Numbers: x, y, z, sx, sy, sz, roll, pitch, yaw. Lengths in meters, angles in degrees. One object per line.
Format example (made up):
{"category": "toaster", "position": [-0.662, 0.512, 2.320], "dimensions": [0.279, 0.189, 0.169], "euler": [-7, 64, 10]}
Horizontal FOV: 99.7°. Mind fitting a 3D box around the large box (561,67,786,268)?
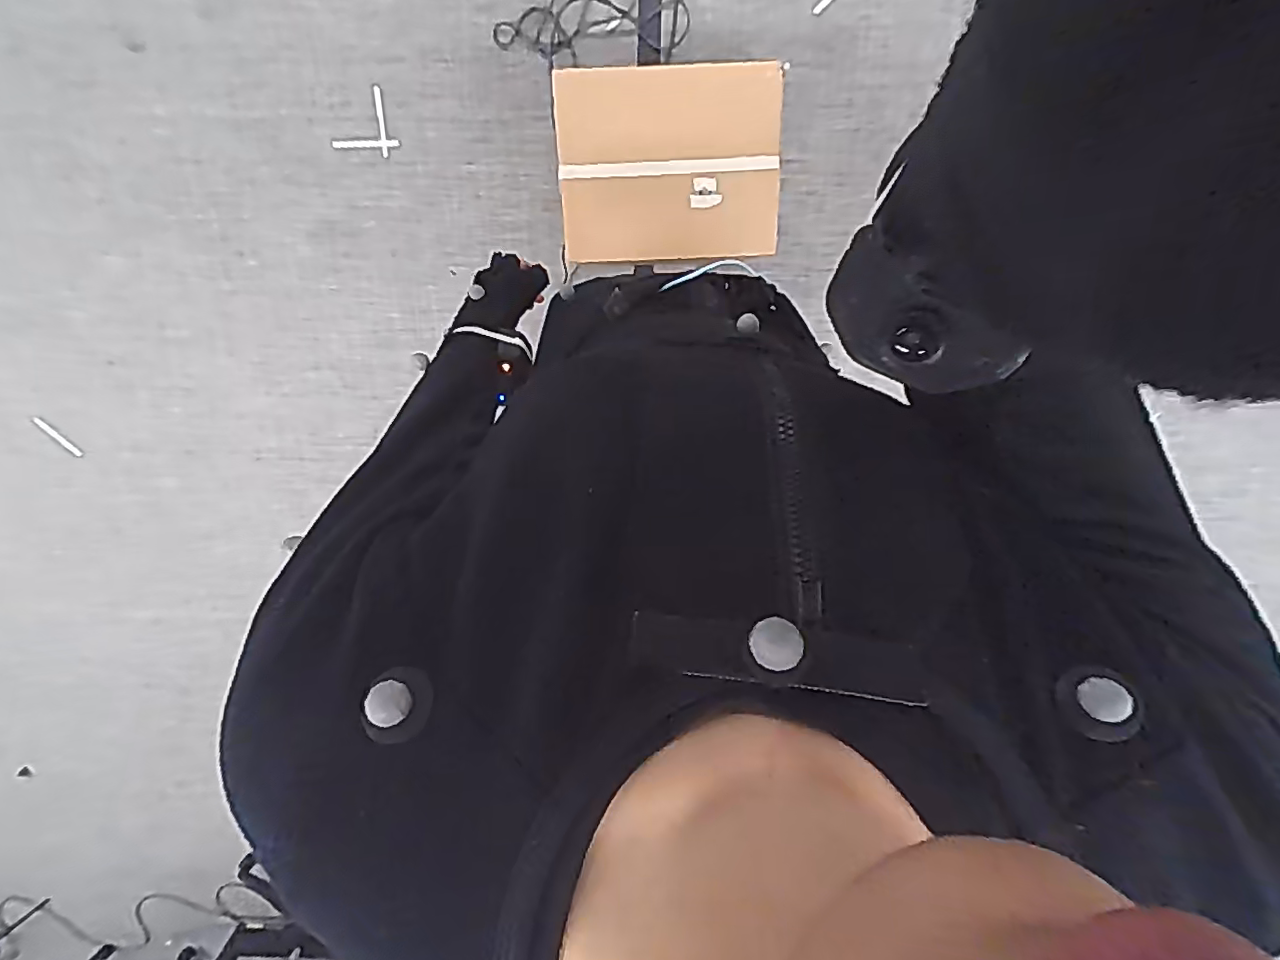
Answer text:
{"category": "large box", "position": [0.061, -0.625, 1.140], "dimensions": [0.408, 0.320, 0.320], "euler": [-1, 111, 0]}
